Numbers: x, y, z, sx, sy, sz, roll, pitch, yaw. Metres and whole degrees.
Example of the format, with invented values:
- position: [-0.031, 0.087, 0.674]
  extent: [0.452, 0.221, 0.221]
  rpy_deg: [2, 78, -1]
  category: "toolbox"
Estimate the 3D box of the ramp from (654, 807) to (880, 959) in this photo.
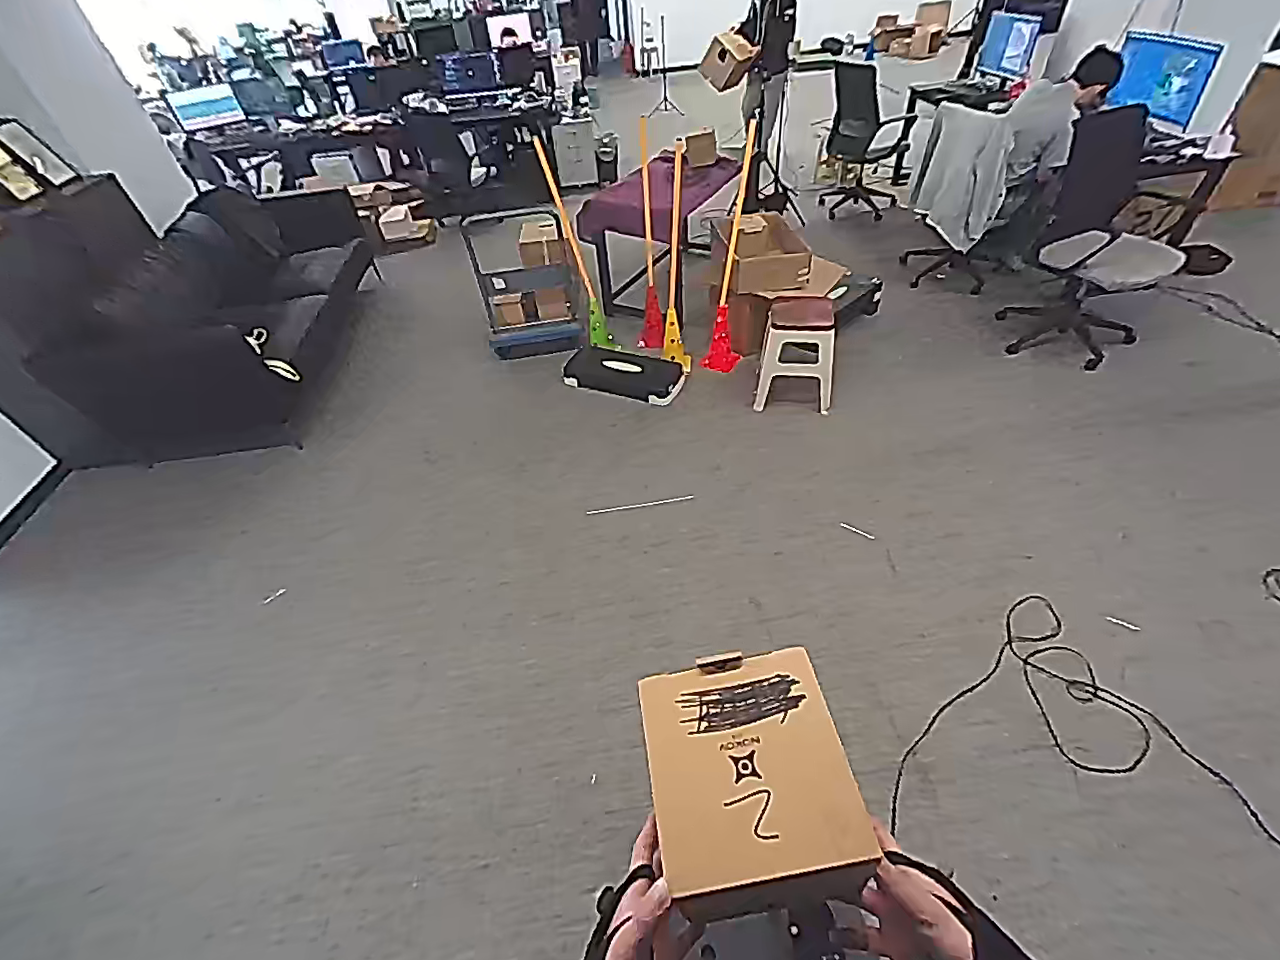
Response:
- position: [0.327, 1.230, 1.103]
  extent: [0.509, 0.206, 0.991]
  rpy_deg: [-10, 44, -2]
  category: "ramp"
